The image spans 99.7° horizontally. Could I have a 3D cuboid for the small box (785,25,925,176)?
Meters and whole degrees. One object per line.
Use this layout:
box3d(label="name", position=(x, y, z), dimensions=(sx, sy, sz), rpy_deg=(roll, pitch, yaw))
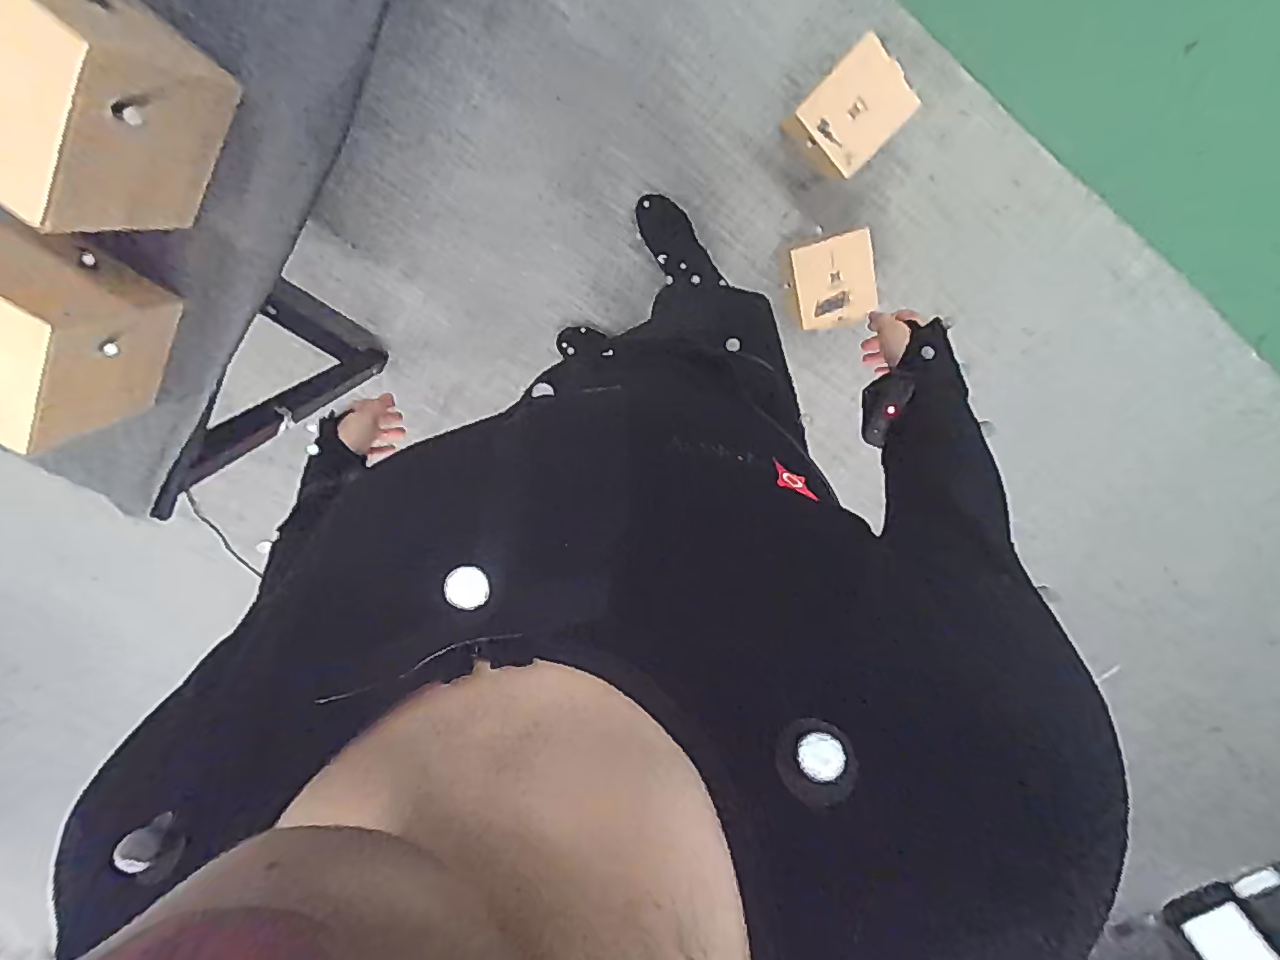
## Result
box3d(label="small box", position=(0.418, -0.743, 1.080), dimensions=(0.168, 0.176, 0.179), rpy_deg=(41, 113, -18))

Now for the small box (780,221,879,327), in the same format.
box3d(label="small box", position=(0.425, -0.471, 1.225), dimensions=(0.168, 0.176, 0.179), rpy_deg=(-14, 115, 10))

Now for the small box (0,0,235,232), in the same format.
box3d(label="small box", position=(-0.531, -0.363, 0.504), dimensions=(0.168, 0.176, 0.179), rpy_deg=(38, 114, -14))
